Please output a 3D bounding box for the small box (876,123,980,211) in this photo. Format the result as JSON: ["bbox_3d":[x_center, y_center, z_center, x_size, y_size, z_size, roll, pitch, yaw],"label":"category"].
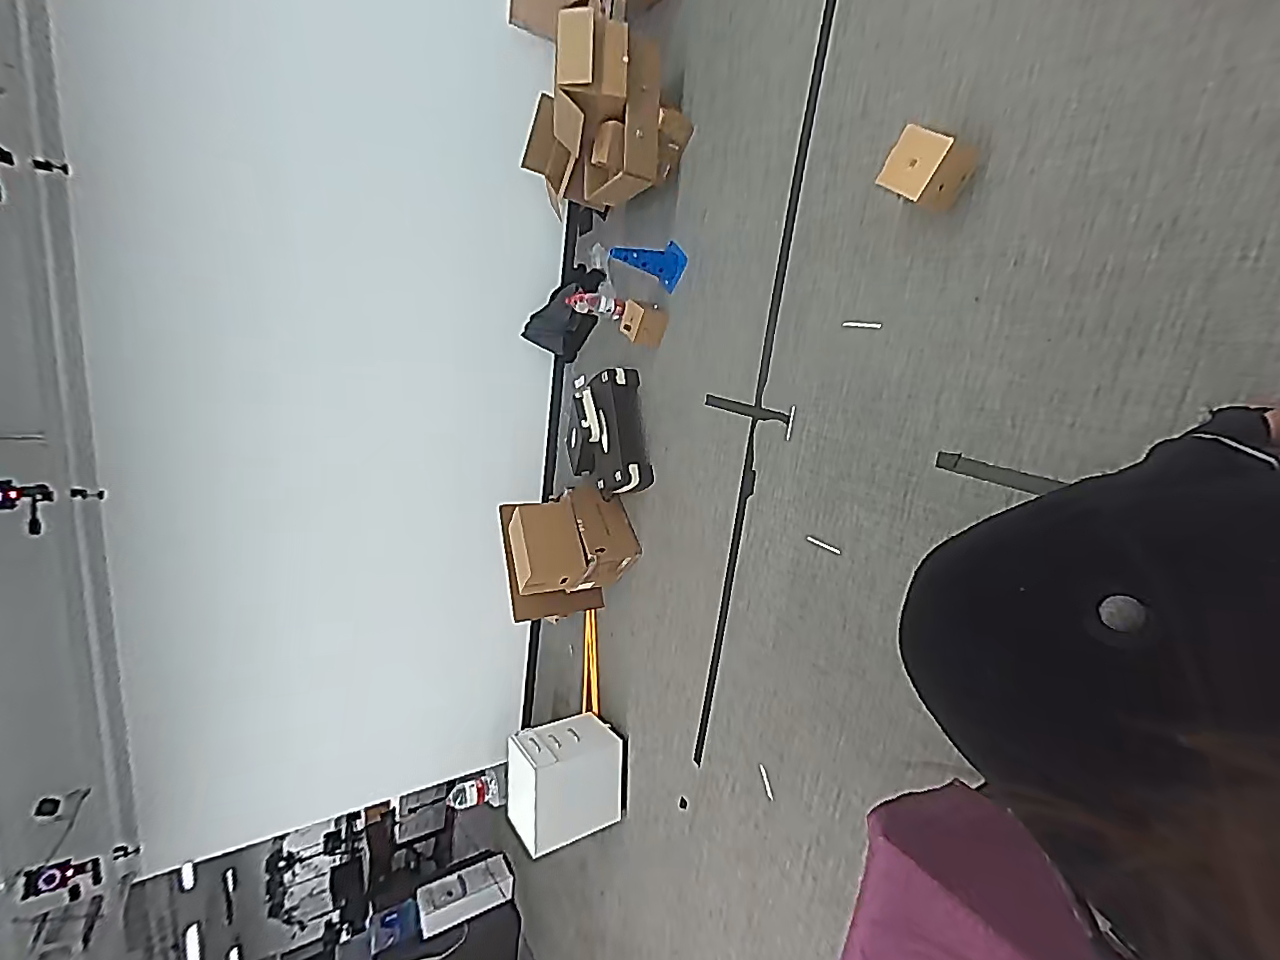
[{"bbox_3d":[0.847,-0.912,1.587,0.179,0.176,0.168,58,136,38],"label":"small box"}]
